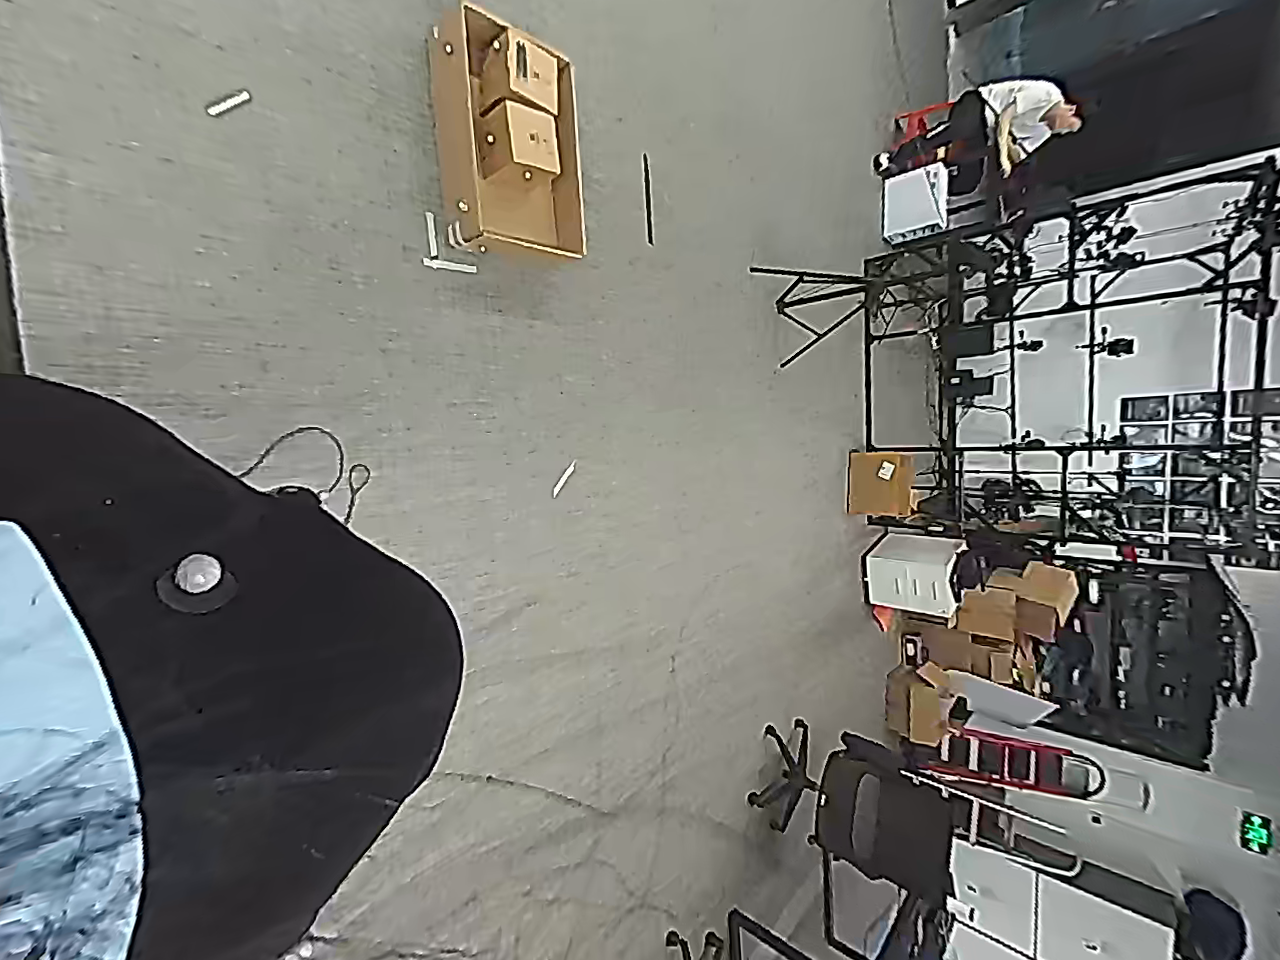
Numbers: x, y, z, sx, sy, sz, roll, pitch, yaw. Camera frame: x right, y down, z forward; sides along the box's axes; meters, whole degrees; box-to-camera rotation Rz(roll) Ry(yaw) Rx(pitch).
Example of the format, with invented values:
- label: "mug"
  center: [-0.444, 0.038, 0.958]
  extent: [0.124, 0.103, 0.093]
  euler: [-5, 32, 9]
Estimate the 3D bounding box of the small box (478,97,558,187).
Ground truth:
- label: "small box"
  center: [-0.378, -1.018, 1.648]
  extent: [0.179, 0.176, 0.168]
  euler: [-15, 104, -46]
